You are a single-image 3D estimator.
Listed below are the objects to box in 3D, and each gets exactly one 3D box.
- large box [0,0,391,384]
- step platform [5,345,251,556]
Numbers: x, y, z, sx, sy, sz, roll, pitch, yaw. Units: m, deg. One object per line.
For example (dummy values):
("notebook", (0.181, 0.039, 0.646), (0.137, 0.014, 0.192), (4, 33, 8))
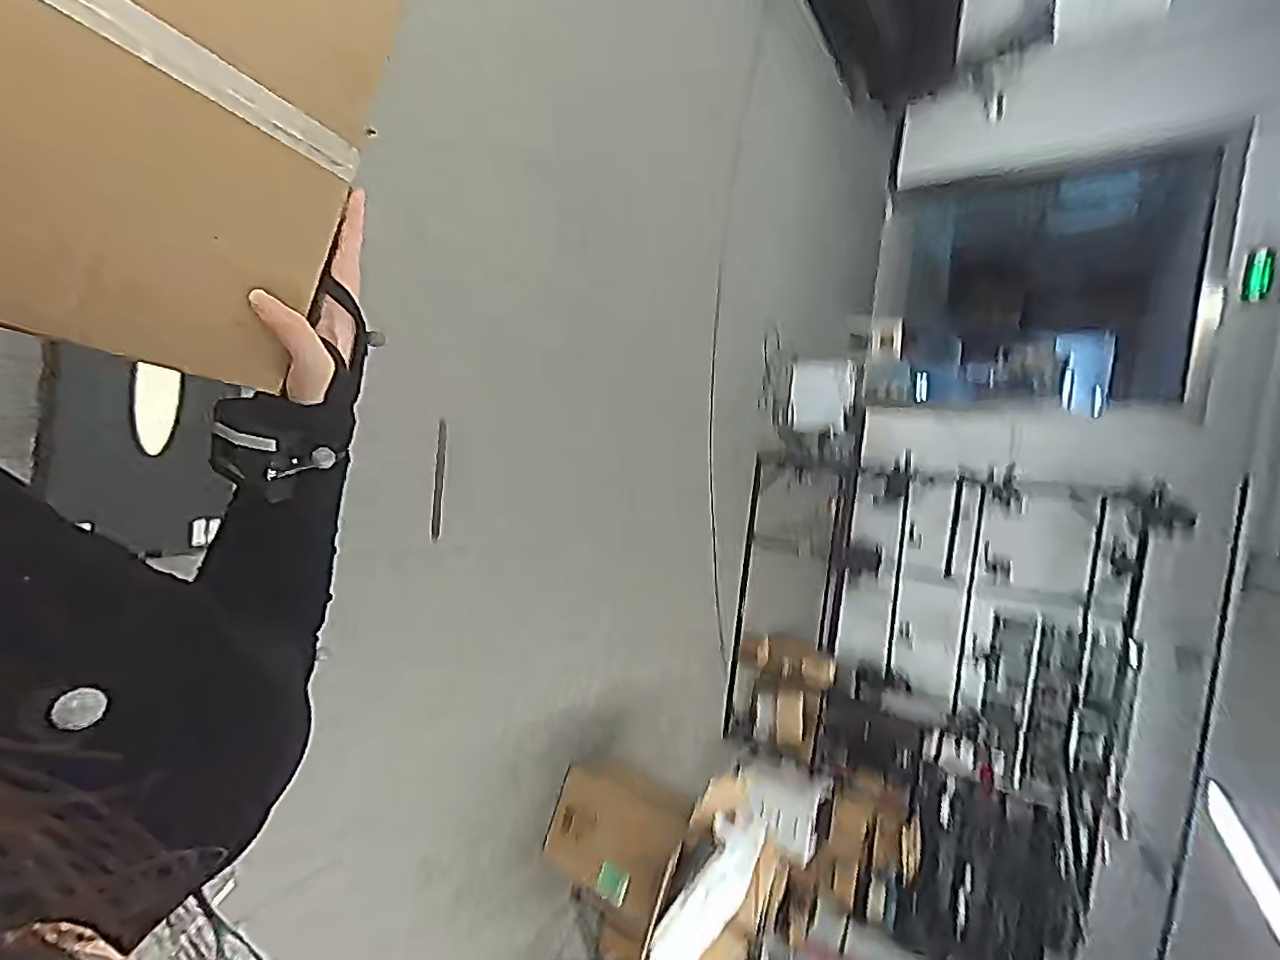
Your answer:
("large box", (-0.413, -0.277, 0.278), (0.408, 0.320, 0.320), (12, 100, -53))
("step platform", (-0.973, -0.193, 1.074), (0.286, 0.204, 0.684), (14, 85, -54))
